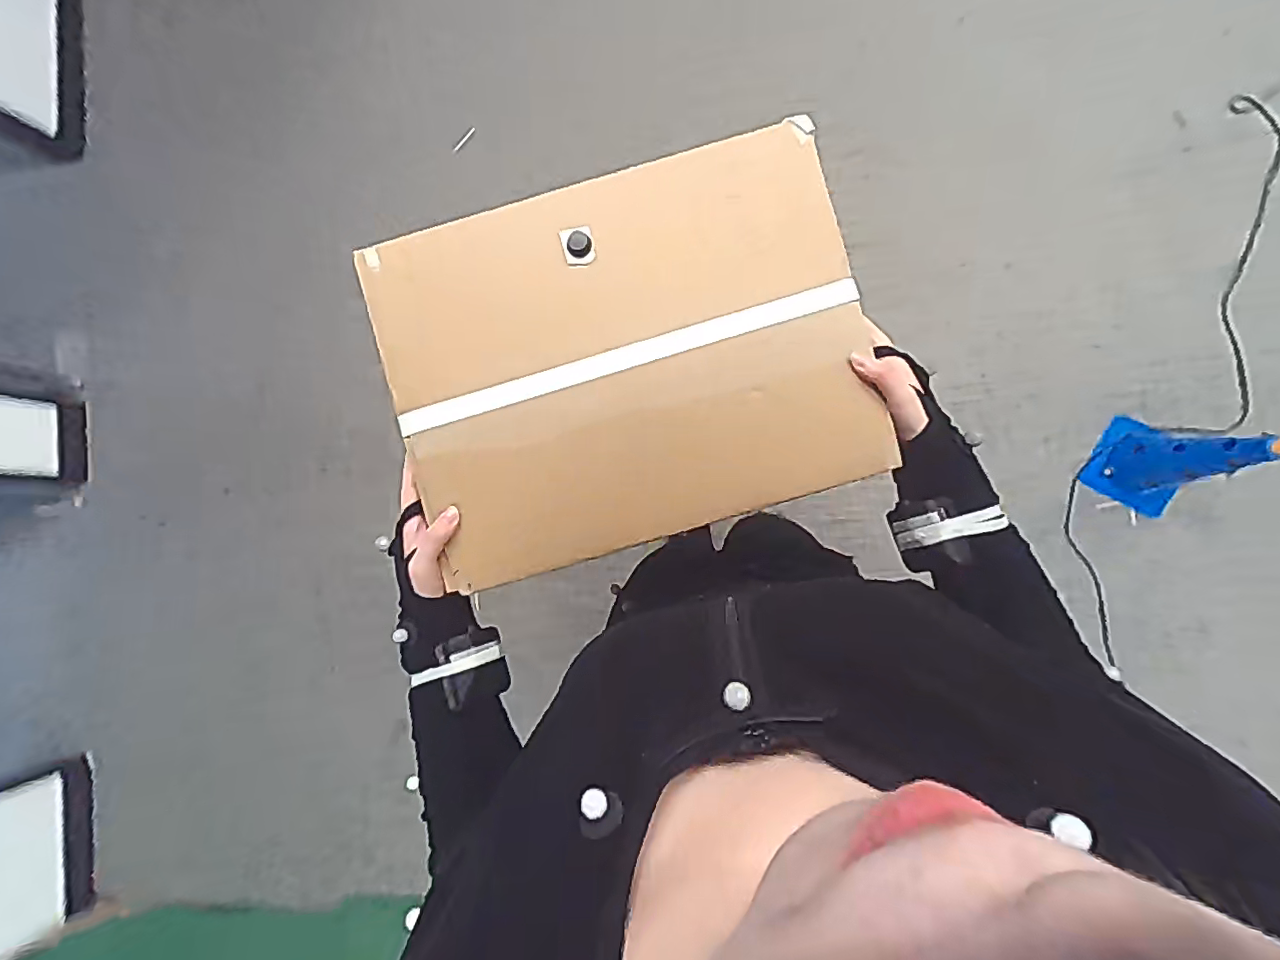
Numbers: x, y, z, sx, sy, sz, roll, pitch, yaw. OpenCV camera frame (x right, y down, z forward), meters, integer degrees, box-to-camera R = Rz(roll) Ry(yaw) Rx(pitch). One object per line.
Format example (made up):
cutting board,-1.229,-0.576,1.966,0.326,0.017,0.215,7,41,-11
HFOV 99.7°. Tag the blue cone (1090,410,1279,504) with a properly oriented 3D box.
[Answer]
blue cone,1.191,-0.063,1.148,0.192,0.380,0.193,28,93,11
